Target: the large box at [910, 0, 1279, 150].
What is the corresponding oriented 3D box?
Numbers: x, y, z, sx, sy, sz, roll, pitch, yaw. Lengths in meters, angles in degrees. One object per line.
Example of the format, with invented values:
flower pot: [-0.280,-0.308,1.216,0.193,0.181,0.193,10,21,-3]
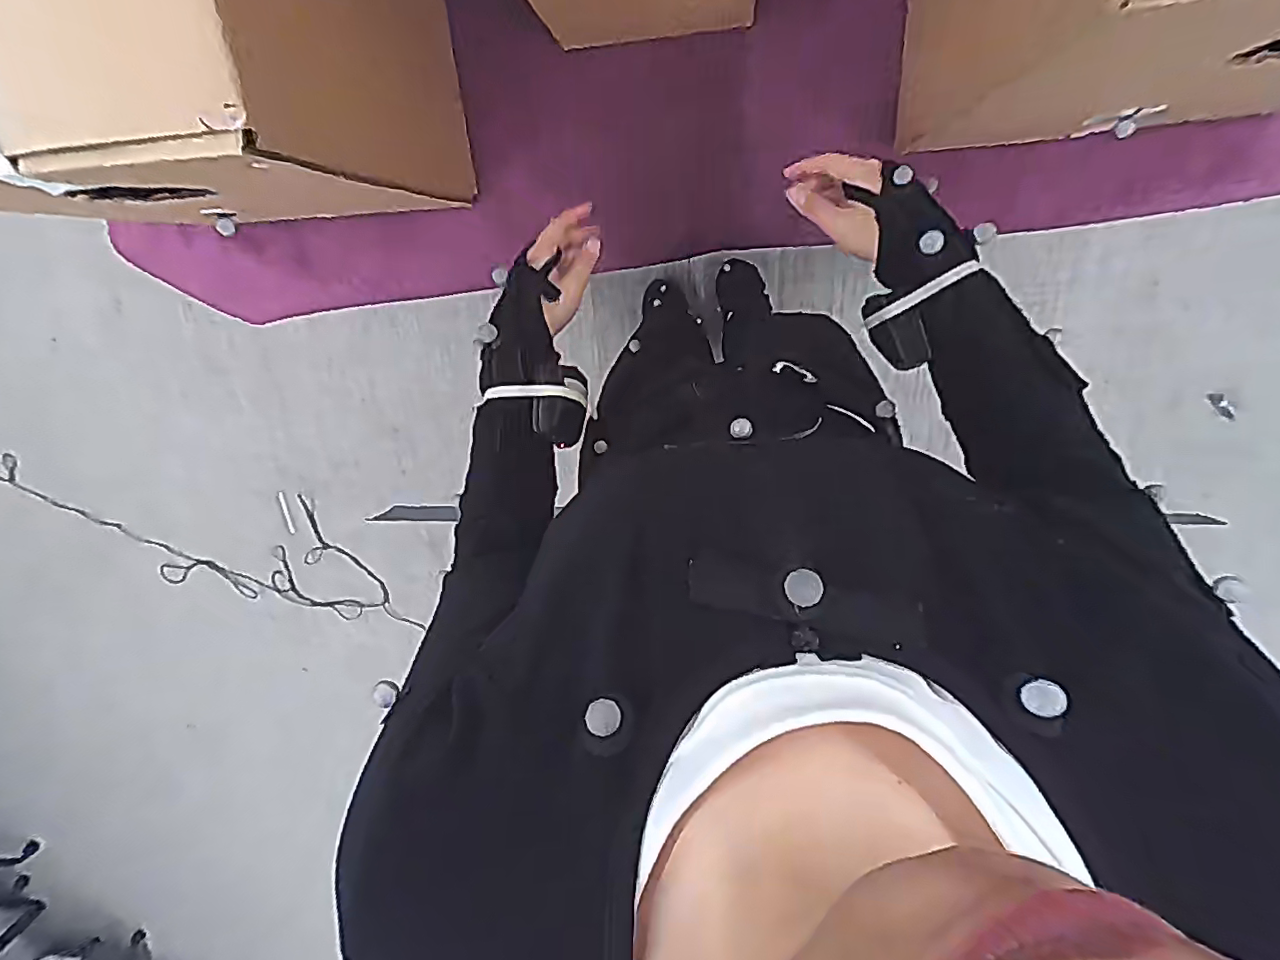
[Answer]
large box: [0.345,-0.434,0.256,0.320,0.320,0.408,-2,110,9]
